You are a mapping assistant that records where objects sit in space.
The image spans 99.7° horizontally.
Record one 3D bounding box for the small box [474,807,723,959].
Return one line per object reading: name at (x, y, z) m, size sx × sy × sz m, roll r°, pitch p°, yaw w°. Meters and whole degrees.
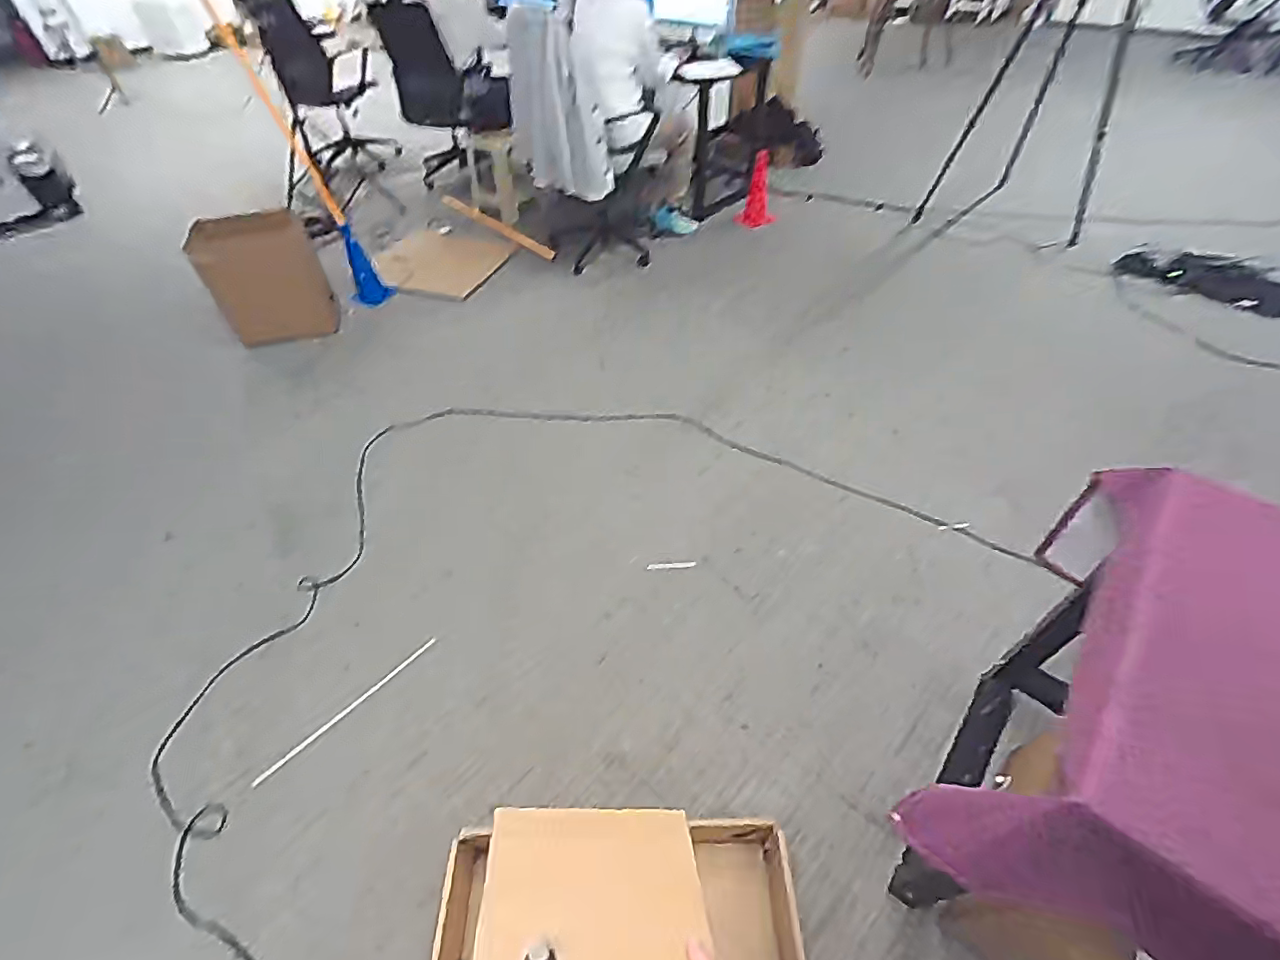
small box at (-0.042, 0.391, 0.429) m, size 0.179 × 0.168 × 0.176 m, roll 6°, pitch 18°, yaw -9°
